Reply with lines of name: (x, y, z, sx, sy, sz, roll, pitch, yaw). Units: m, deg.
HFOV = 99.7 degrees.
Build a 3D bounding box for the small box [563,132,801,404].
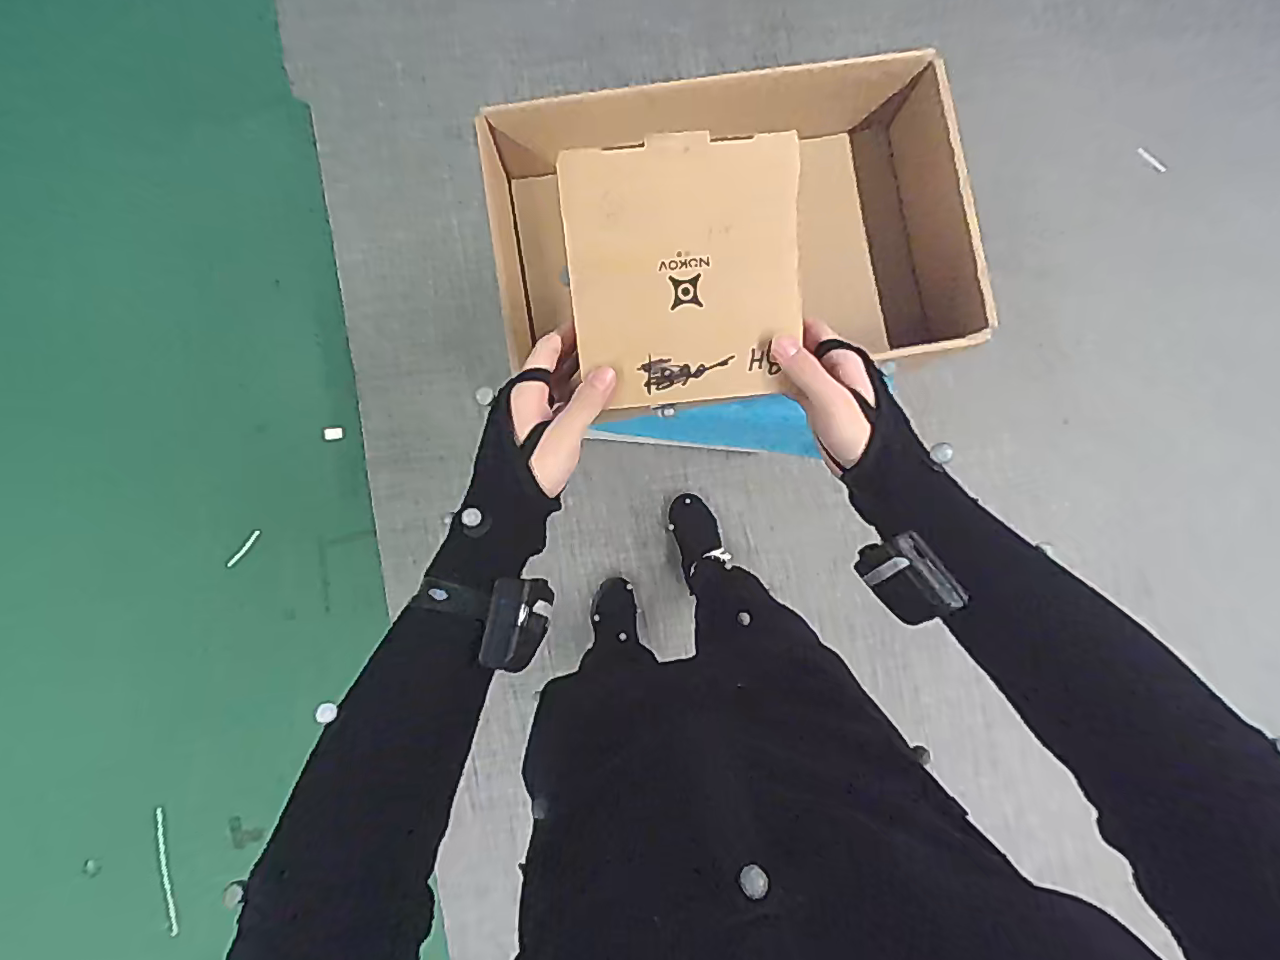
small box: (0.030, -0.166, 0.465, 0.168, 0.176, 0.179, -6, 104, 0)
